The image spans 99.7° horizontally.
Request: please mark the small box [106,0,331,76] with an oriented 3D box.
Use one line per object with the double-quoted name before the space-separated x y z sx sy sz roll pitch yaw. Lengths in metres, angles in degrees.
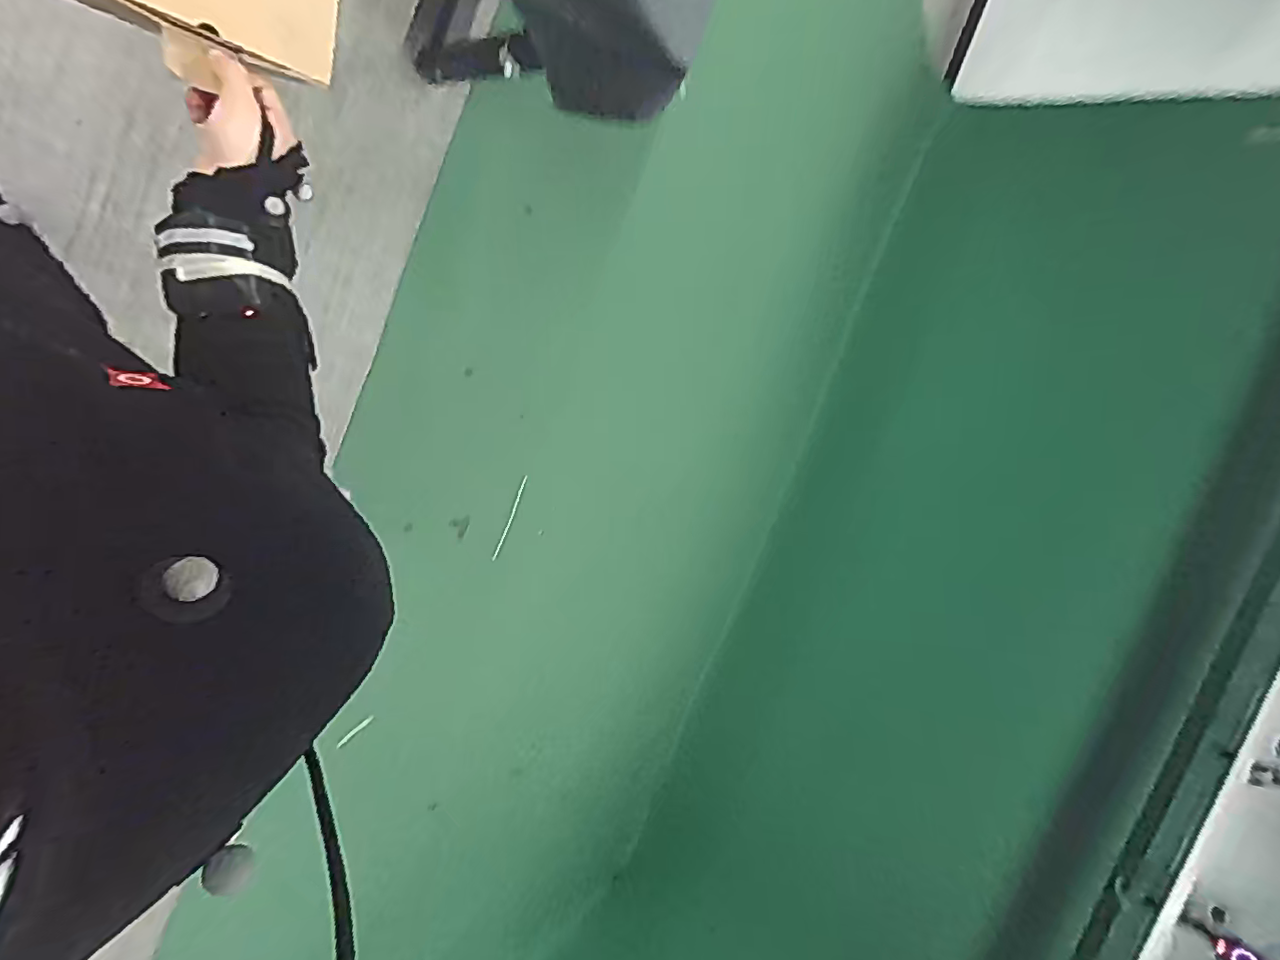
"small box" -0.337 -0.426 0.377 0.168 0.176 0.179 -15 129 -55
